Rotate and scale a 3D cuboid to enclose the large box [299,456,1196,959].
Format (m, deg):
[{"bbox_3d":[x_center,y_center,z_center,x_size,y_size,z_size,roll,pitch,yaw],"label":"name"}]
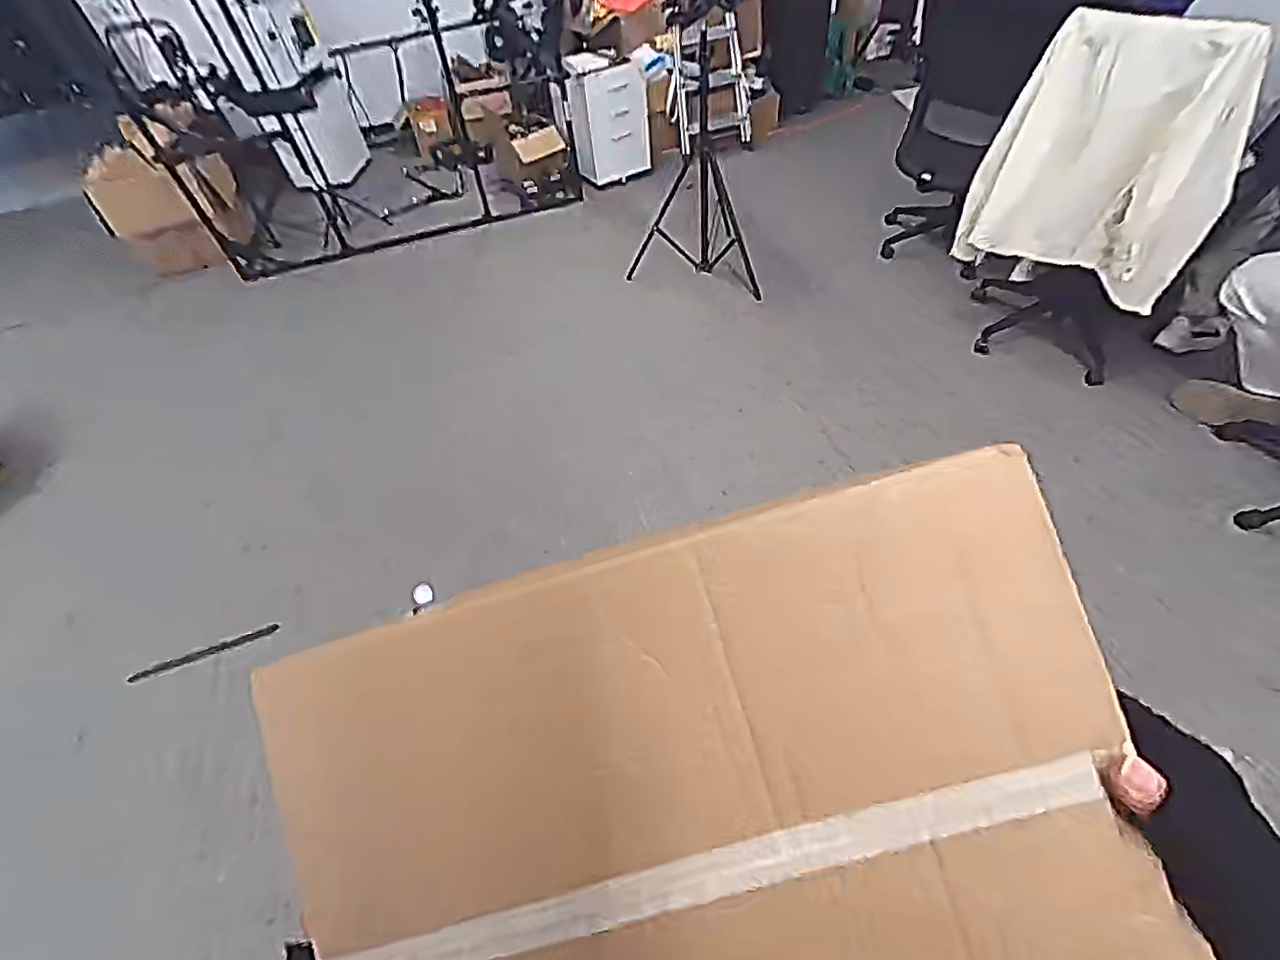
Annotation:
[{"bbox_3d":[0.054,0.202,0.421,0.408,0.320,0.320,-18,86,3],"label":"large box"}]
